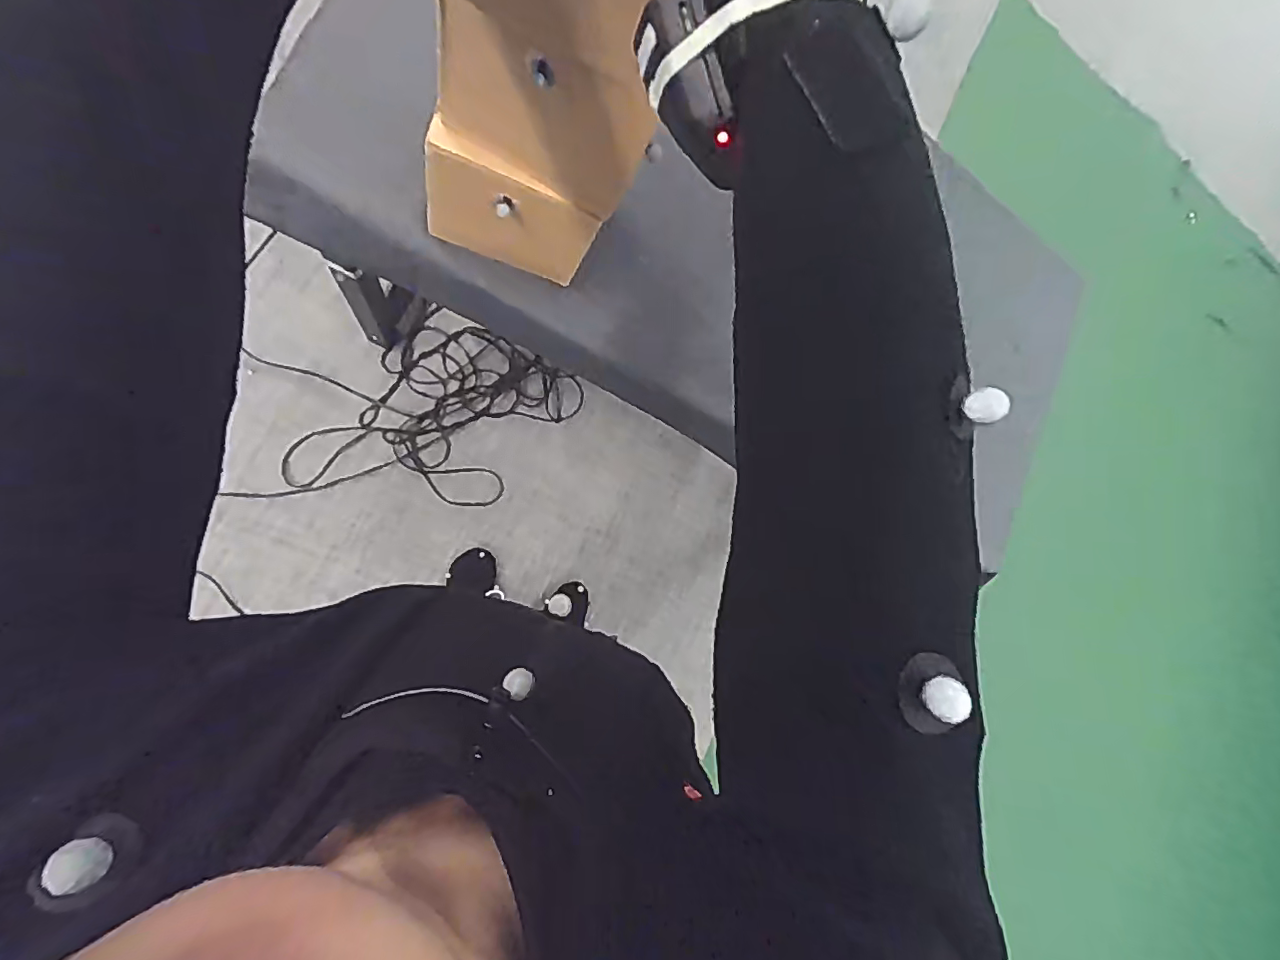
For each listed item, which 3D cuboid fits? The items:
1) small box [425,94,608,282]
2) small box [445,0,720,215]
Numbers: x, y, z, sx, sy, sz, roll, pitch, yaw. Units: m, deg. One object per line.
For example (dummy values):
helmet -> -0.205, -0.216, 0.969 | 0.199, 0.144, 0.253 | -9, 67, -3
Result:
small box -> -0.123, -0.347, 0.602 | 0.179, 0.176, 0.168 | 16, 80, -17
small box -> -0.052, -0.366, 0.456 | 0.179, 0.176, 0.168 | 25, 79, -16
